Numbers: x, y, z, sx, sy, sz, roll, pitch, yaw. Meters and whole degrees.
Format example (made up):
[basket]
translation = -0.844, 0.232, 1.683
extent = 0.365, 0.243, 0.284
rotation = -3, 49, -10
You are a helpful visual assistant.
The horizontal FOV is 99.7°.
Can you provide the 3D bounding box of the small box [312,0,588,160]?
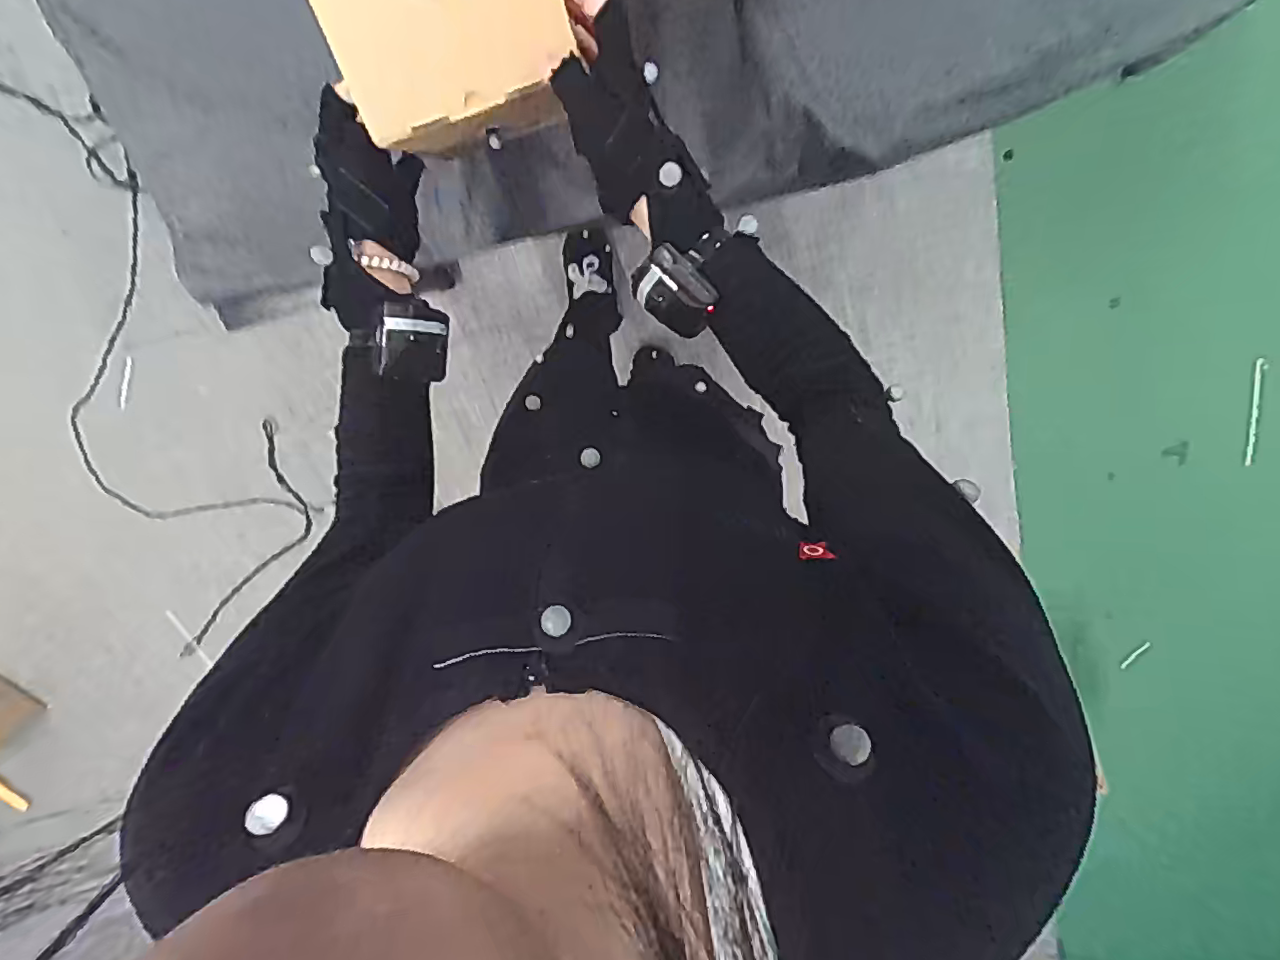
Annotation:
[small box]
translation = -0.147, -0.380, 0.430
extent = 0.168, 0.176, 0.179
rotation = -16, 117, 6
